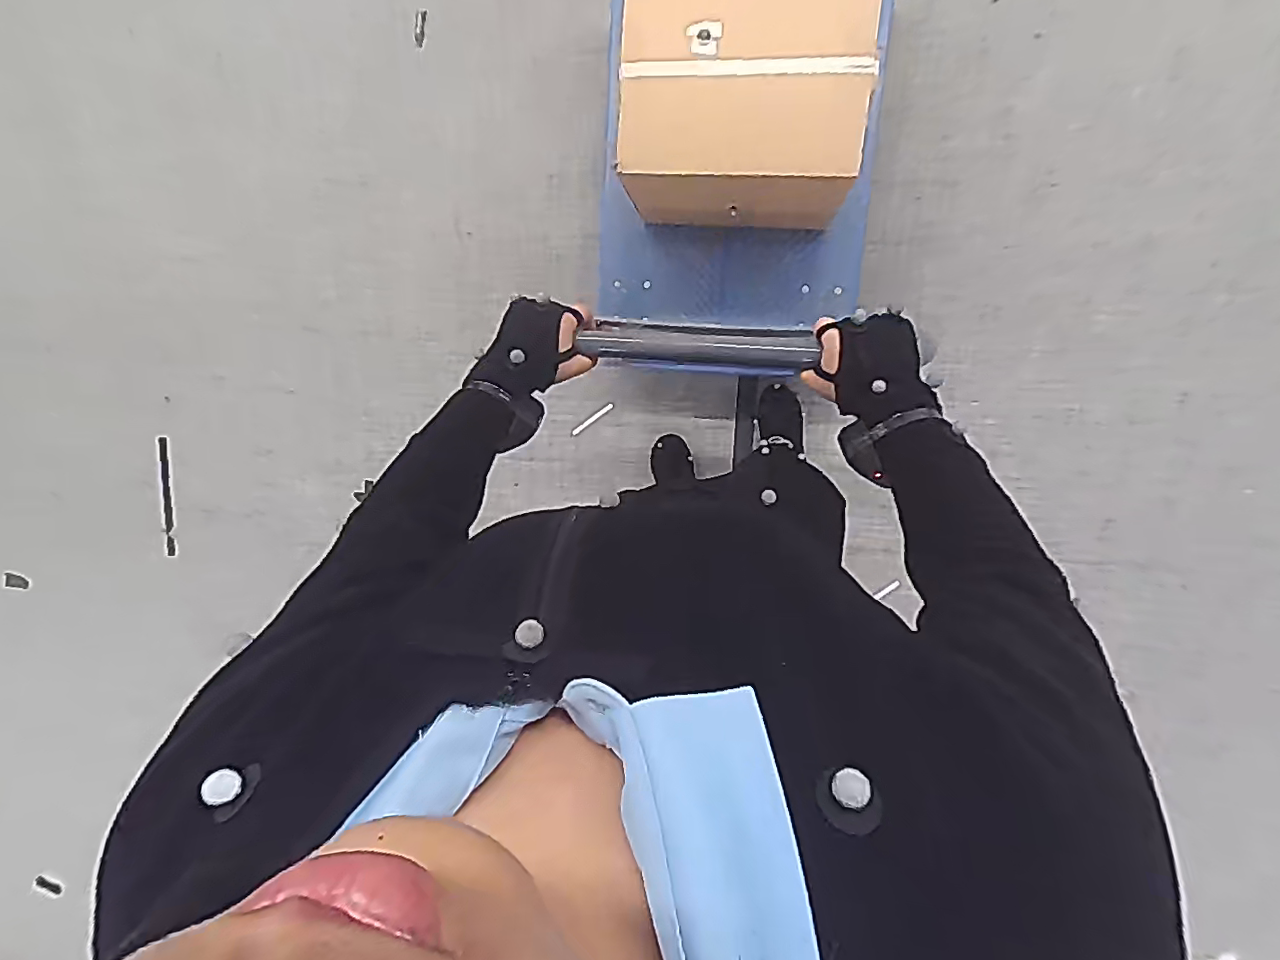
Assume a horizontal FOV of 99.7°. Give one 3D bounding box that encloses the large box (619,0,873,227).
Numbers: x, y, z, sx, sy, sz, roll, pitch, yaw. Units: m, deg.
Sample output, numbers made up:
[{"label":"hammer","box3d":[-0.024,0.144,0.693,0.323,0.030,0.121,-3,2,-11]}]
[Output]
[{"label":"large box","box3d":[0.194,-0.689,1.041,0.408,0.320,0.320,6,100,10]}]
